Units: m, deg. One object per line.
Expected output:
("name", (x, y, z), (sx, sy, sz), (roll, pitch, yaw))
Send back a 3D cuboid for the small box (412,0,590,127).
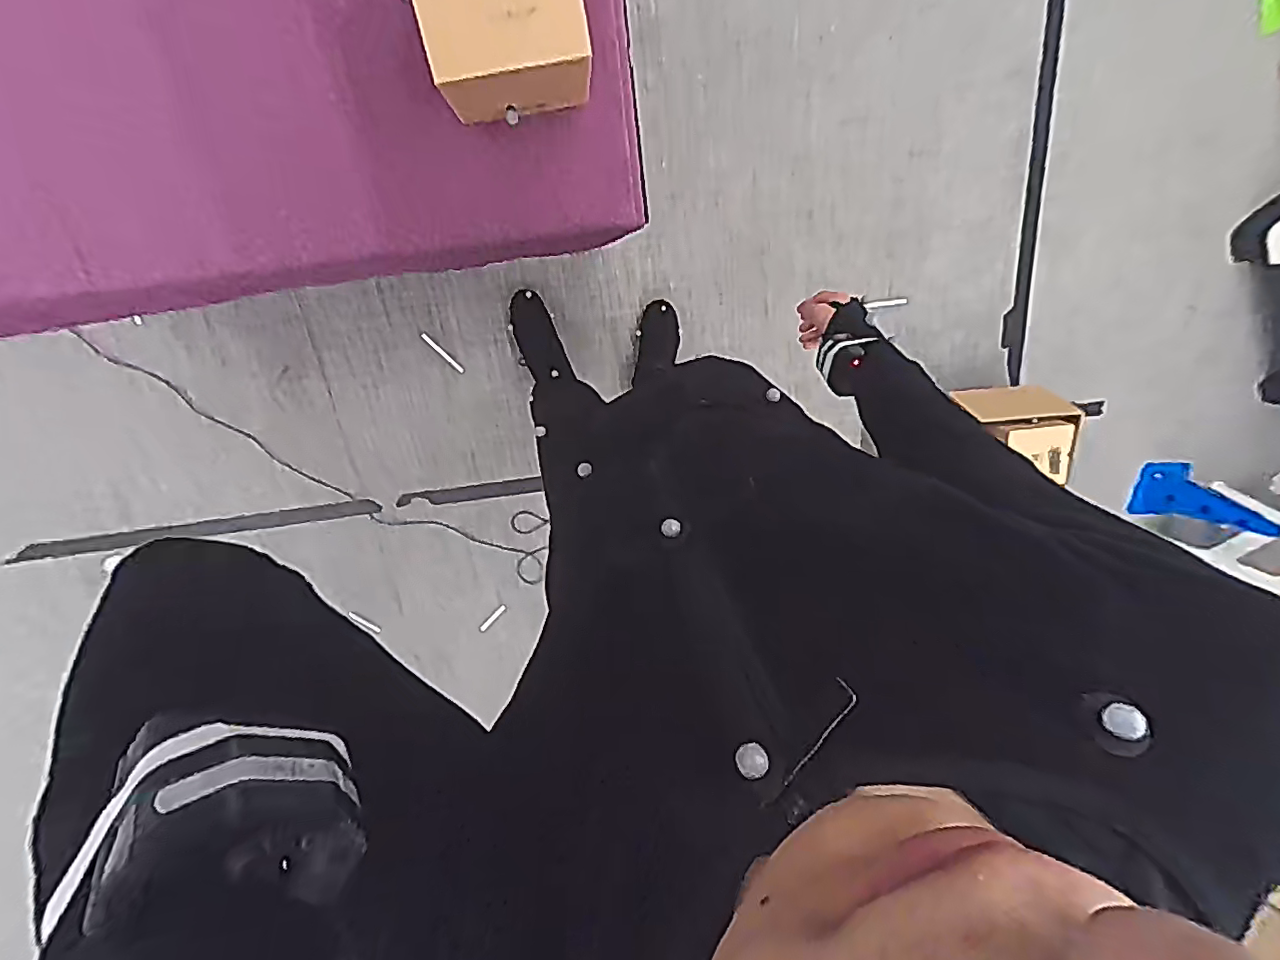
("small box", (-0.155, -0.523, 0.595), (0.168, 0.176, 0.179), (-12, 111, -2))
